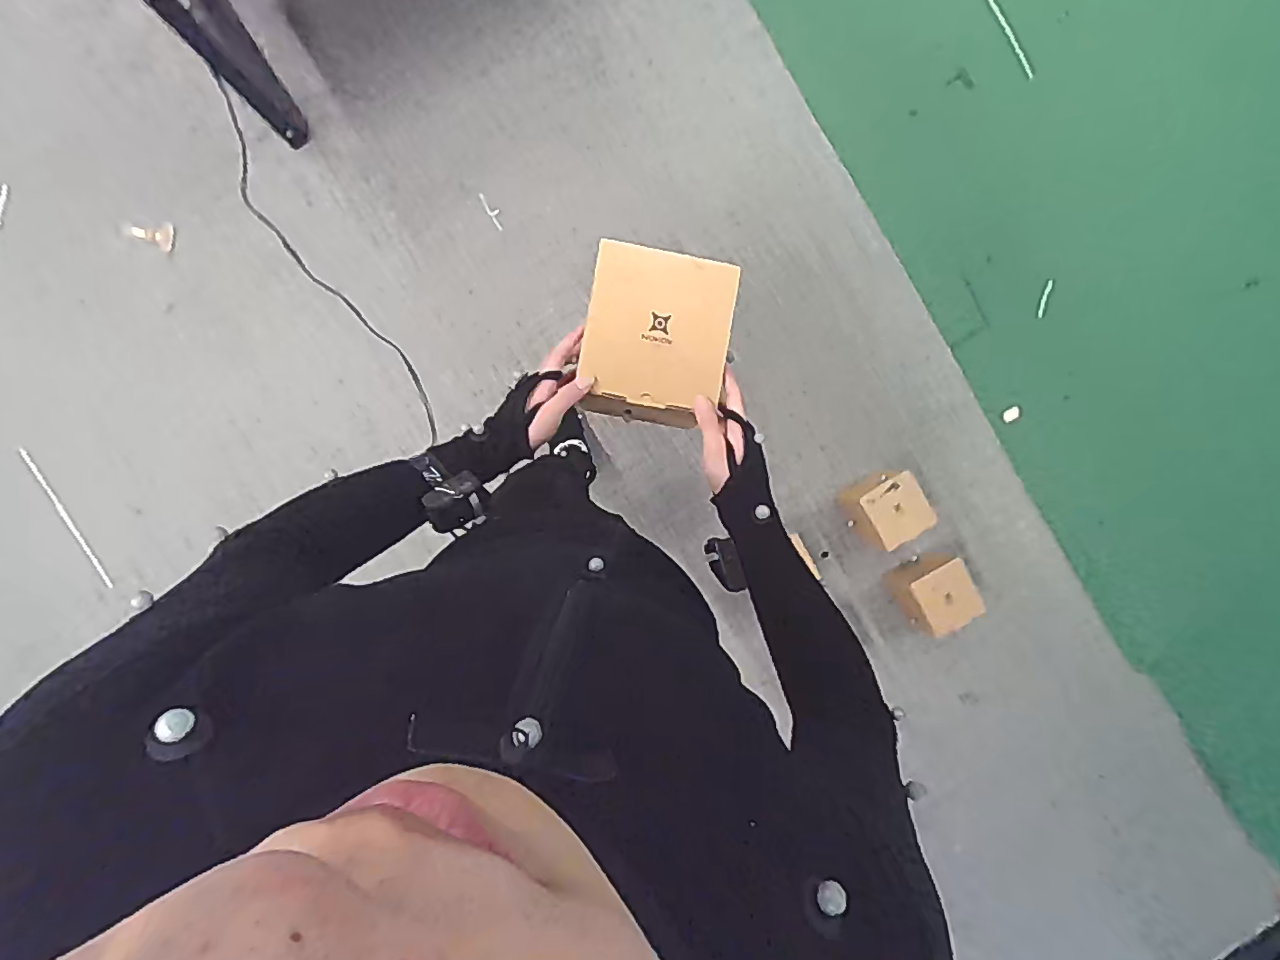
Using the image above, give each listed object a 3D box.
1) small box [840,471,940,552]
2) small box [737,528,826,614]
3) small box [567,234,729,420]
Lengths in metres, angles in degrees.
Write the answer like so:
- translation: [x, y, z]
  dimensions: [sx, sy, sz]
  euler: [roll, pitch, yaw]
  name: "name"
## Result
- translation: [0.716, 0.083, 1.567]
  dimensions: [0.168, 0.176, 0.179]
  euler: [-30, 92, -1]
  name: "small box"
- translation: [0.403, 0.255, 1.564]
  dimensions: [0.168, 0.176, 0.179]
  euler: [-29, 92, -1]
  name: "small box"
- translation: [0.004, -0.182, 0.694]
  dimensions: [0.168, 0.176, 0.179]
  euler: [9, 91, -4]
  name: "small box"
